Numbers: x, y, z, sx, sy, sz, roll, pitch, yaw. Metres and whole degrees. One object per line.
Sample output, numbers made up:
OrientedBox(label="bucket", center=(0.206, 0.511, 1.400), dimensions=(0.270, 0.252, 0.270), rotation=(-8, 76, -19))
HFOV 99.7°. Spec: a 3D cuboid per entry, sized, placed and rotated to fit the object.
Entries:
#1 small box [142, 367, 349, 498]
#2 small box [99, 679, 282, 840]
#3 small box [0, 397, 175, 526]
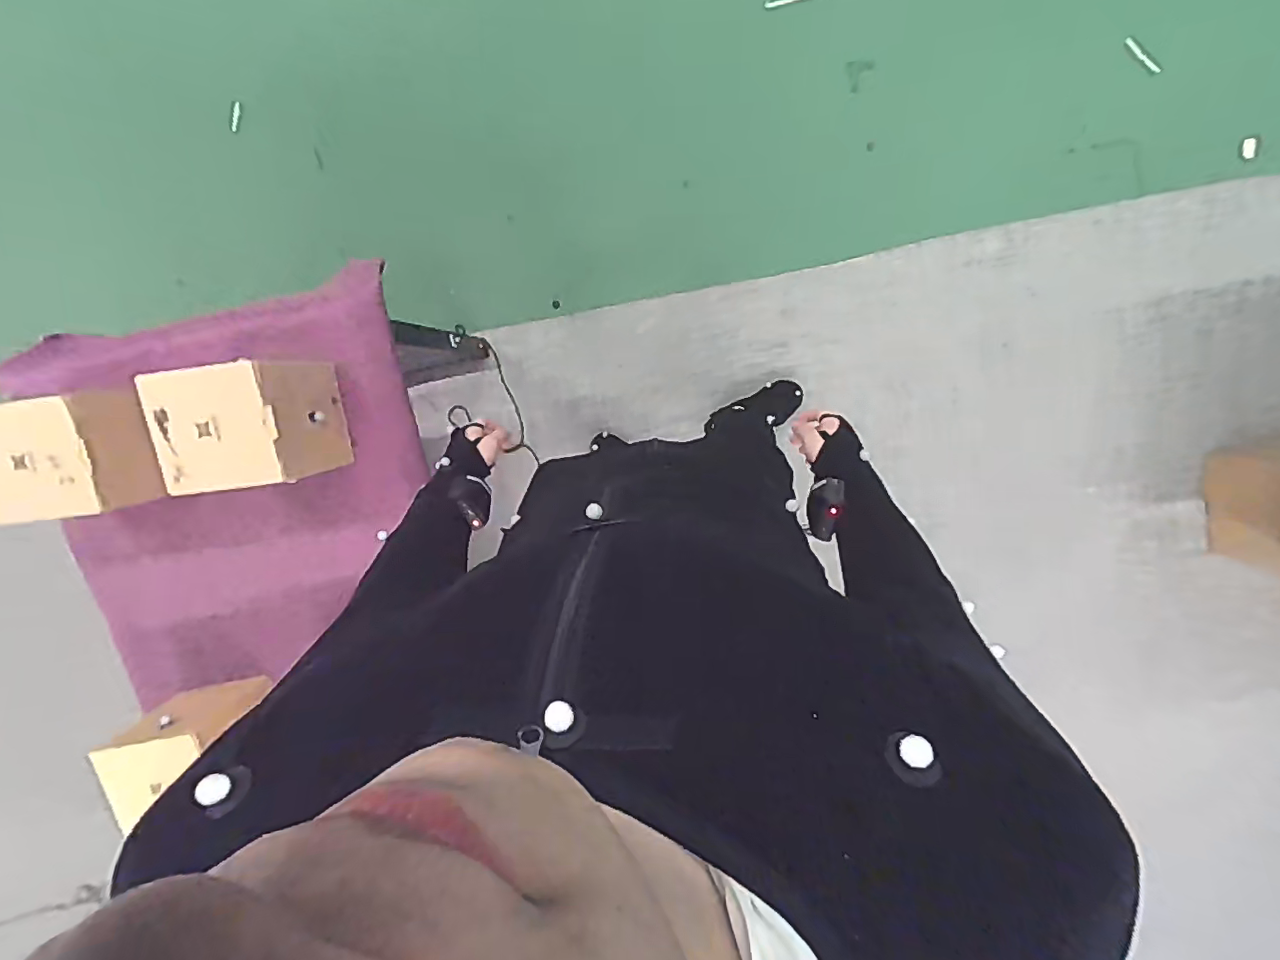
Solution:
OrientedBox(label="small box", center=(-0.567, -0.078, 0.809), dimensions=(0.179, 0.176, 0.168), rotation=(-6, 101, 5))
OrientedBox(label="small box", center=(-0.738, 0.467, 0.924), dimensions=(0.179, 0.176, 0.168), rotation=(-12, 99, 4))
OrientedBox(label="small box", center=(-0.840, -0.035, 0.832), dimensions=(0.179, 0.176, 0.168), rotation=(-7, 101, 3))
